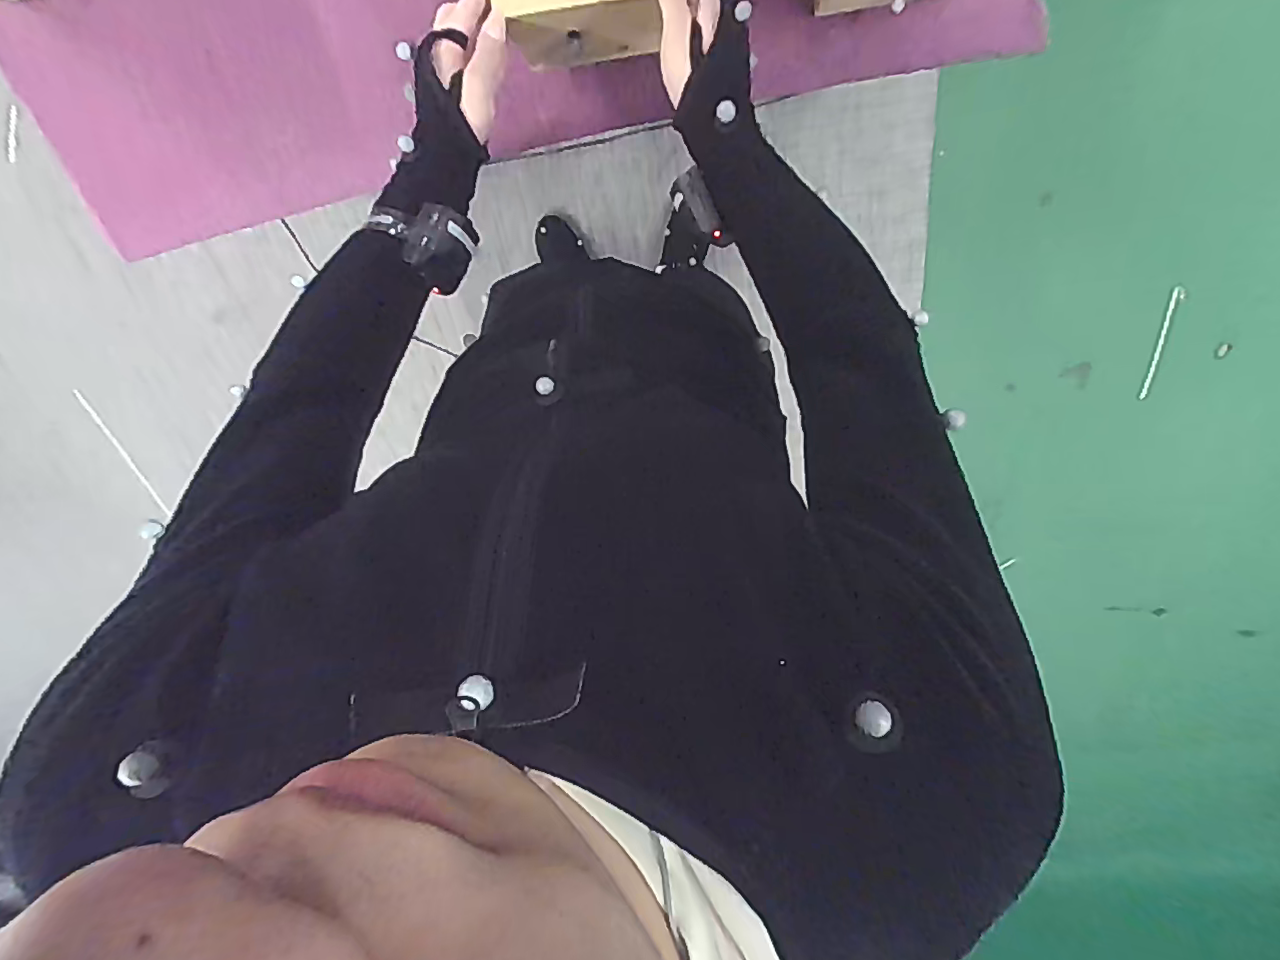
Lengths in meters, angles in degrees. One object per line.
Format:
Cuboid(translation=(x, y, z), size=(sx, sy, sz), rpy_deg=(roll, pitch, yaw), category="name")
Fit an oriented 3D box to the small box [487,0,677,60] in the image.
Cuboid(translation=(-0.054, -0.514, 0.492), size=(0.168, 0.176, 0.179), rpy_deg=(-6, 114, 5), category="small box")
